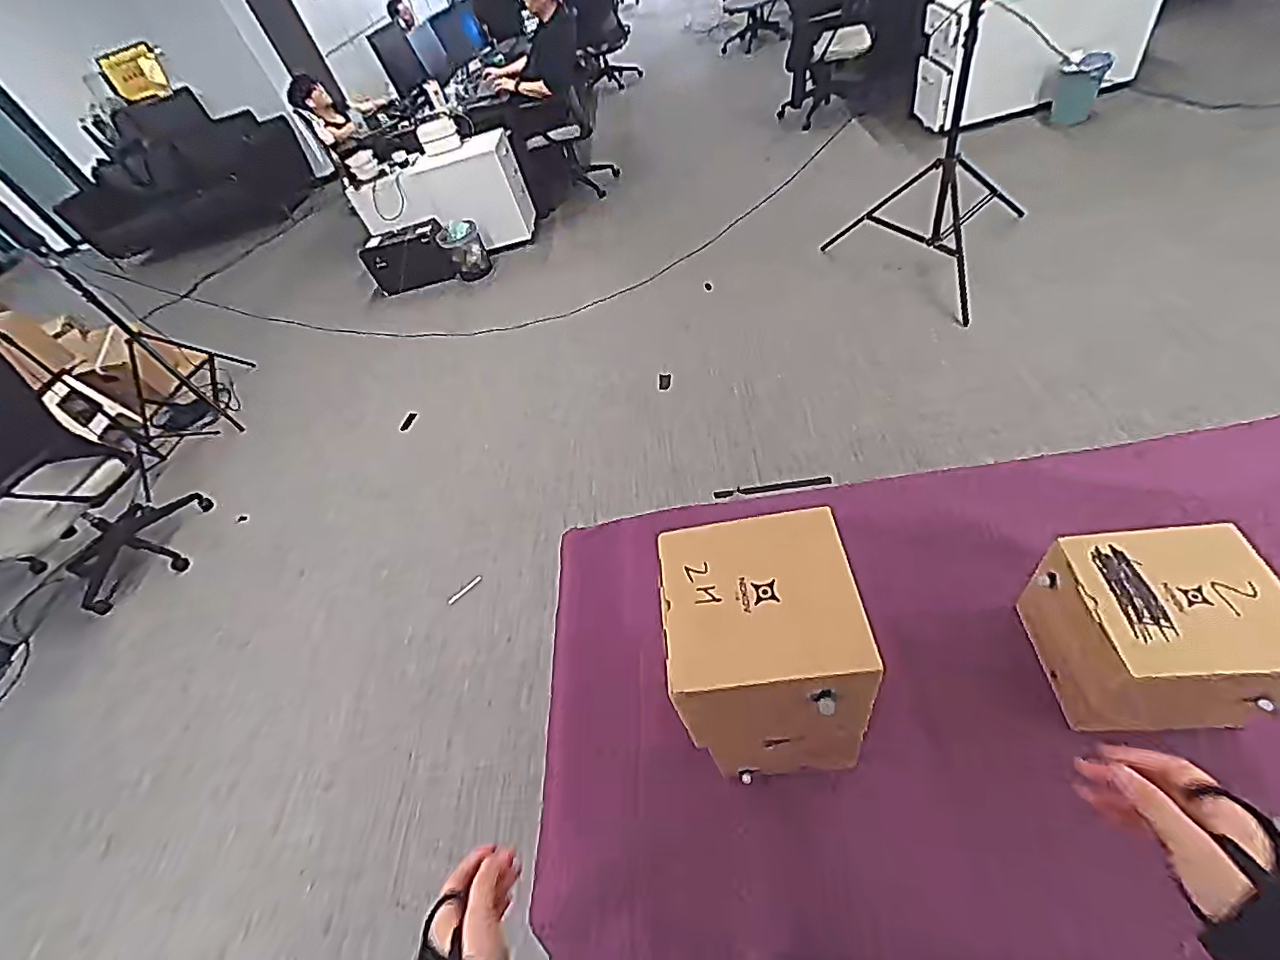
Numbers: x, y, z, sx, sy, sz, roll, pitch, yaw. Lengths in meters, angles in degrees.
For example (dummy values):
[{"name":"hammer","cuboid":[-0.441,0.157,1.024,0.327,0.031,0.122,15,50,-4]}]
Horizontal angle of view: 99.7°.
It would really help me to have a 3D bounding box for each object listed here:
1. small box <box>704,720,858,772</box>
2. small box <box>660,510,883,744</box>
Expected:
[{"name":"small box","cuboid":[0.164,0.252,0.676,0.168,0.176,0.179,-10,48,9]},{"name":"small box","cuboid":[0.124,0.154,0.550,0.179,0.176,0.168,-10,48,9]}]
